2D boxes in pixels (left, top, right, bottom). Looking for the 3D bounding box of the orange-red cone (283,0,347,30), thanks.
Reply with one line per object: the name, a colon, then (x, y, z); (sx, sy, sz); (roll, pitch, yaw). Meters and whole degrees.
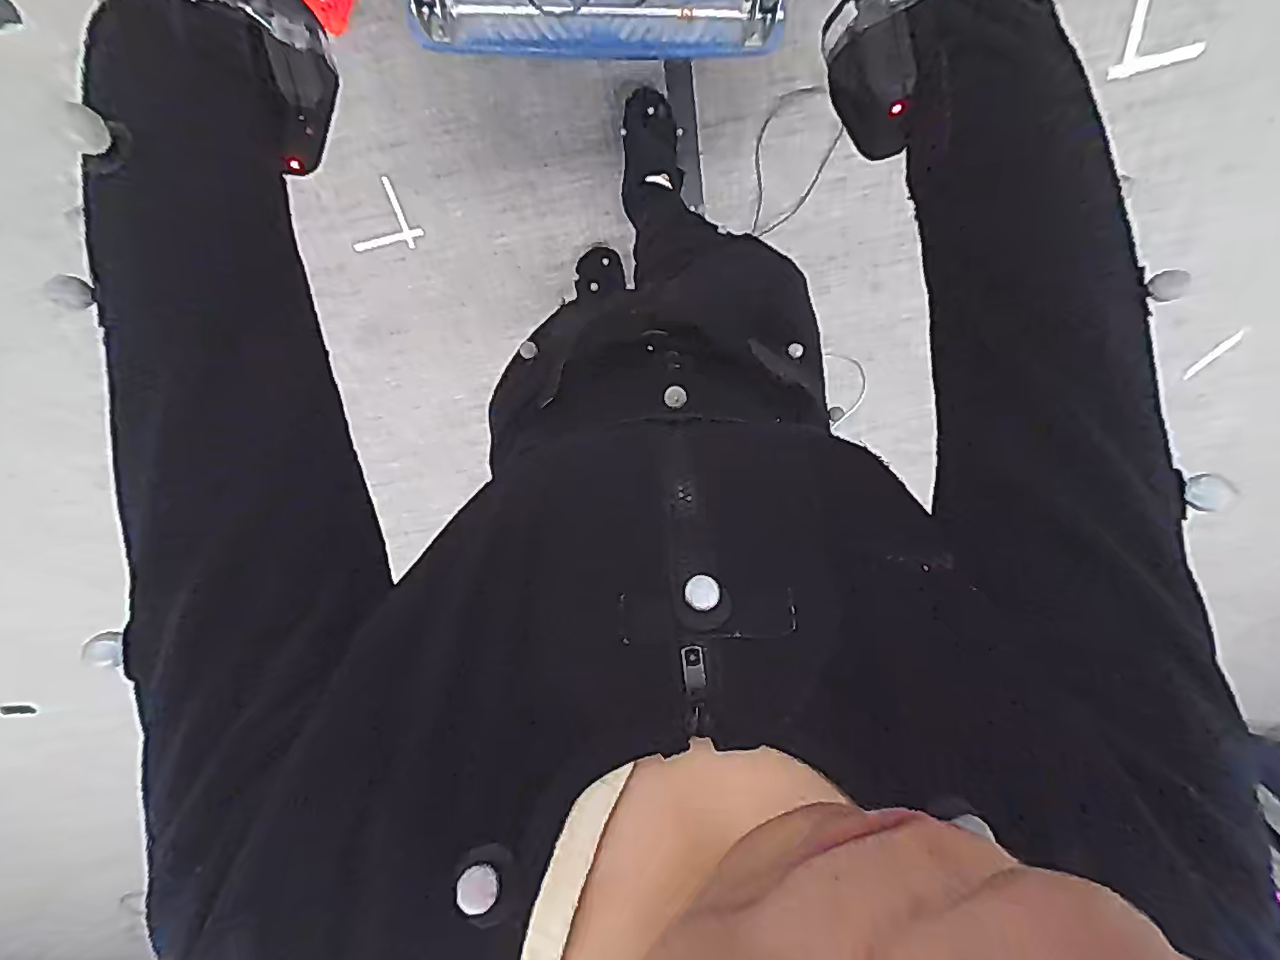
orange-red cone: (-0.537, -0.780, 0.715); (0.198, 0.360, 0.199); (28, 117, -22)
